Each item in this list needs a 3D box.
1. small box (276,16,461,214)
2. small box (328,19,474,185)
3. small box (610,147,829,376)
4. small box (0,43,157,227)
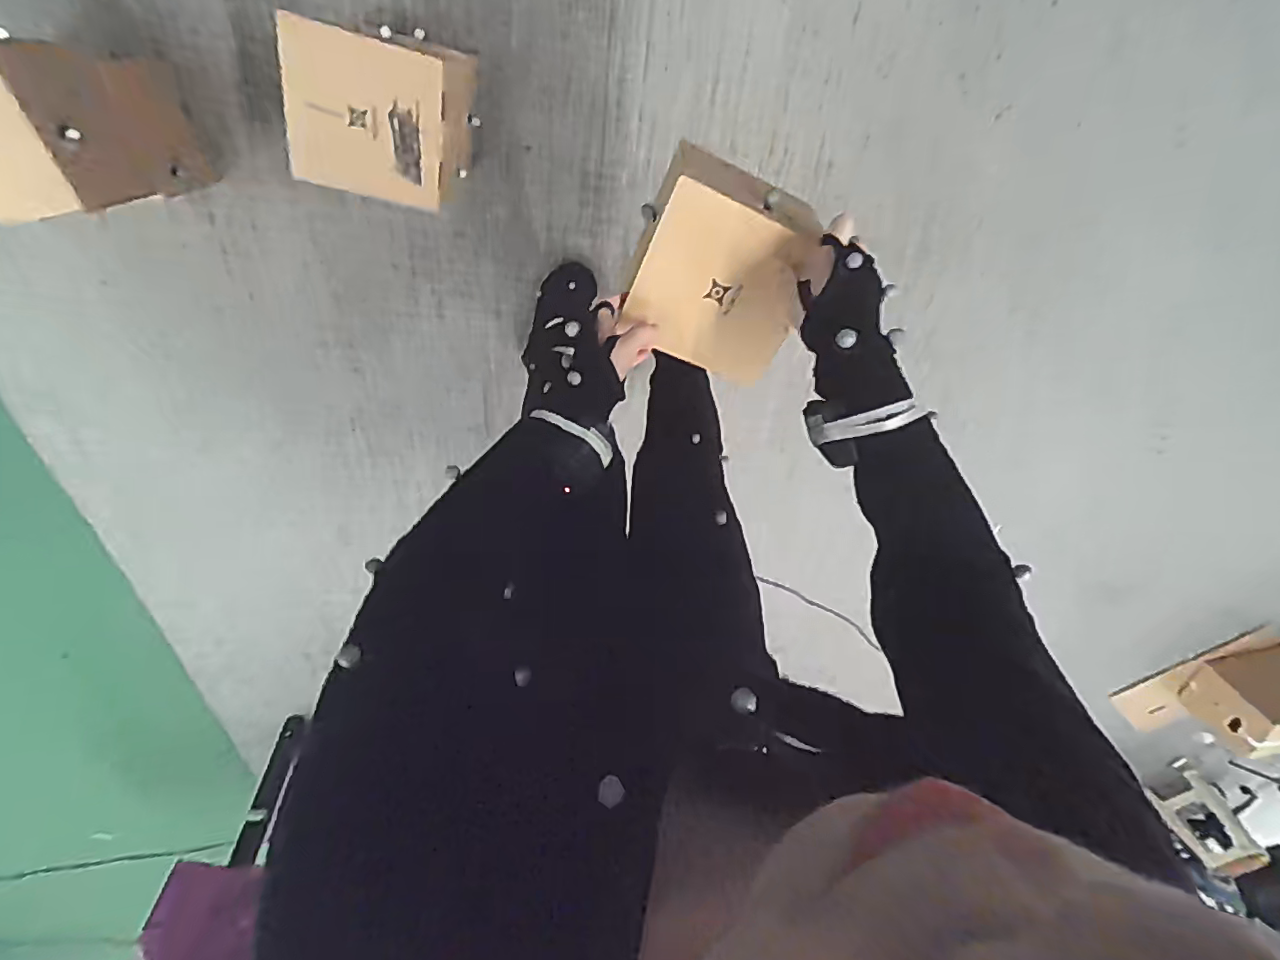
[{"bbox_3d":[-0.338,-0.473,0.708,0.179,0.176,0.168,8,125,-13],"label":"small box"},{"bbox_3d":[-0.357,-0.578,0.834,0.179,0.176,0.168,7,125,-14],"label":"small box"},{"bbox_3d":[0.079,-0.253,0.618,0.179,0.176,0.168,18,130,-13],"label":"small box"},{"bbox_3d":[-0.773,-0.430,0.675,0.168,0.176,0.179,-7,127,-4],"label":"small box"}]
